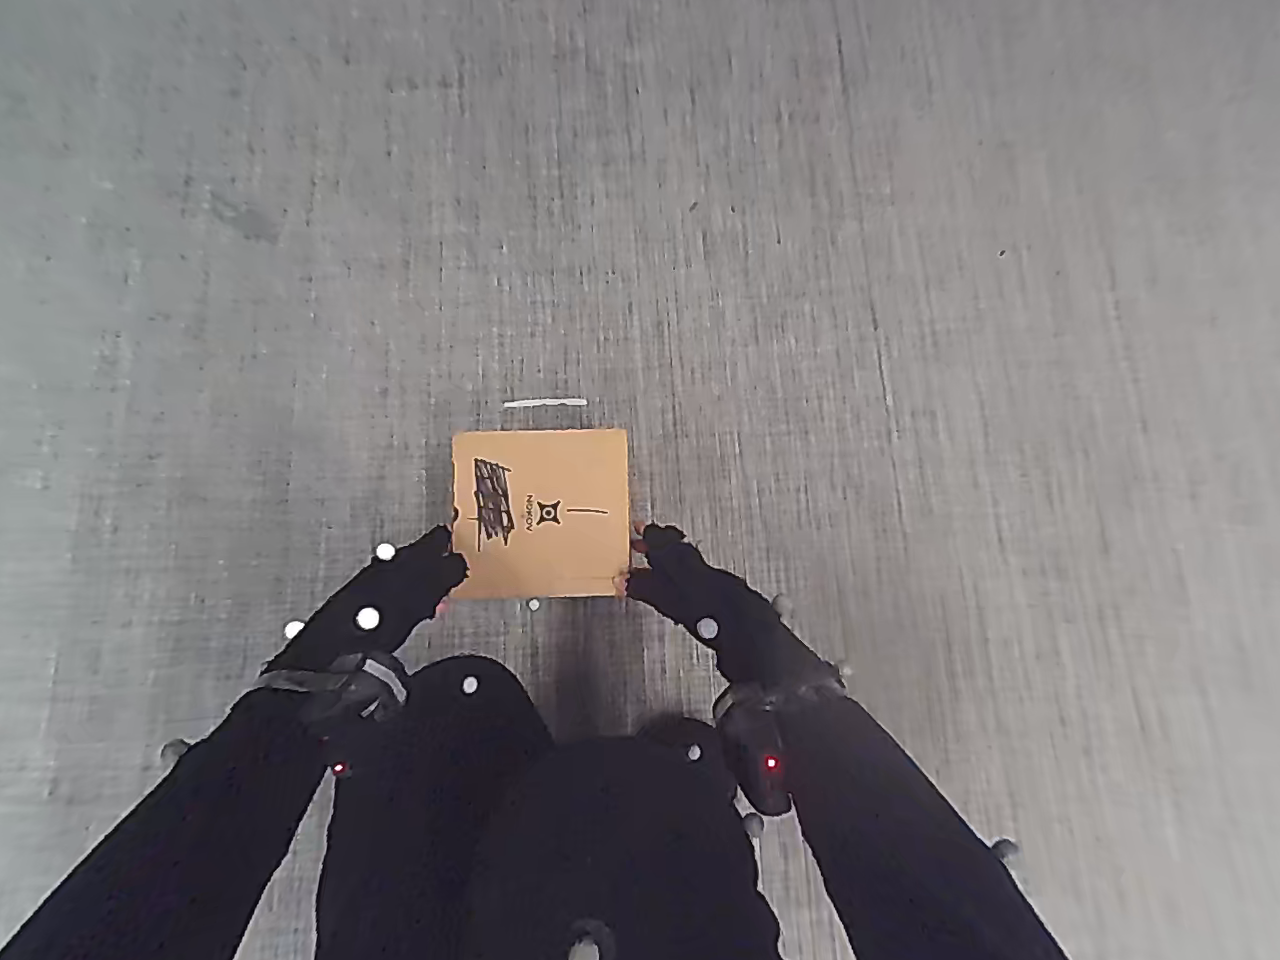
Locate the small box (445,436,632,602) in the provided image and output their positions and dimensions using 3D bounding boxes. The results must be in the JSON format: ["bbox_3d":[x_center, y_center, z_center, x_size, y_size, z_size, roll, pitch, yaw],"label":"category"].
[{"bbox_3d":[-0.099,0.052,0.606,0.179,0.176,0.168,-1,79,0],"label":"small box"}]
